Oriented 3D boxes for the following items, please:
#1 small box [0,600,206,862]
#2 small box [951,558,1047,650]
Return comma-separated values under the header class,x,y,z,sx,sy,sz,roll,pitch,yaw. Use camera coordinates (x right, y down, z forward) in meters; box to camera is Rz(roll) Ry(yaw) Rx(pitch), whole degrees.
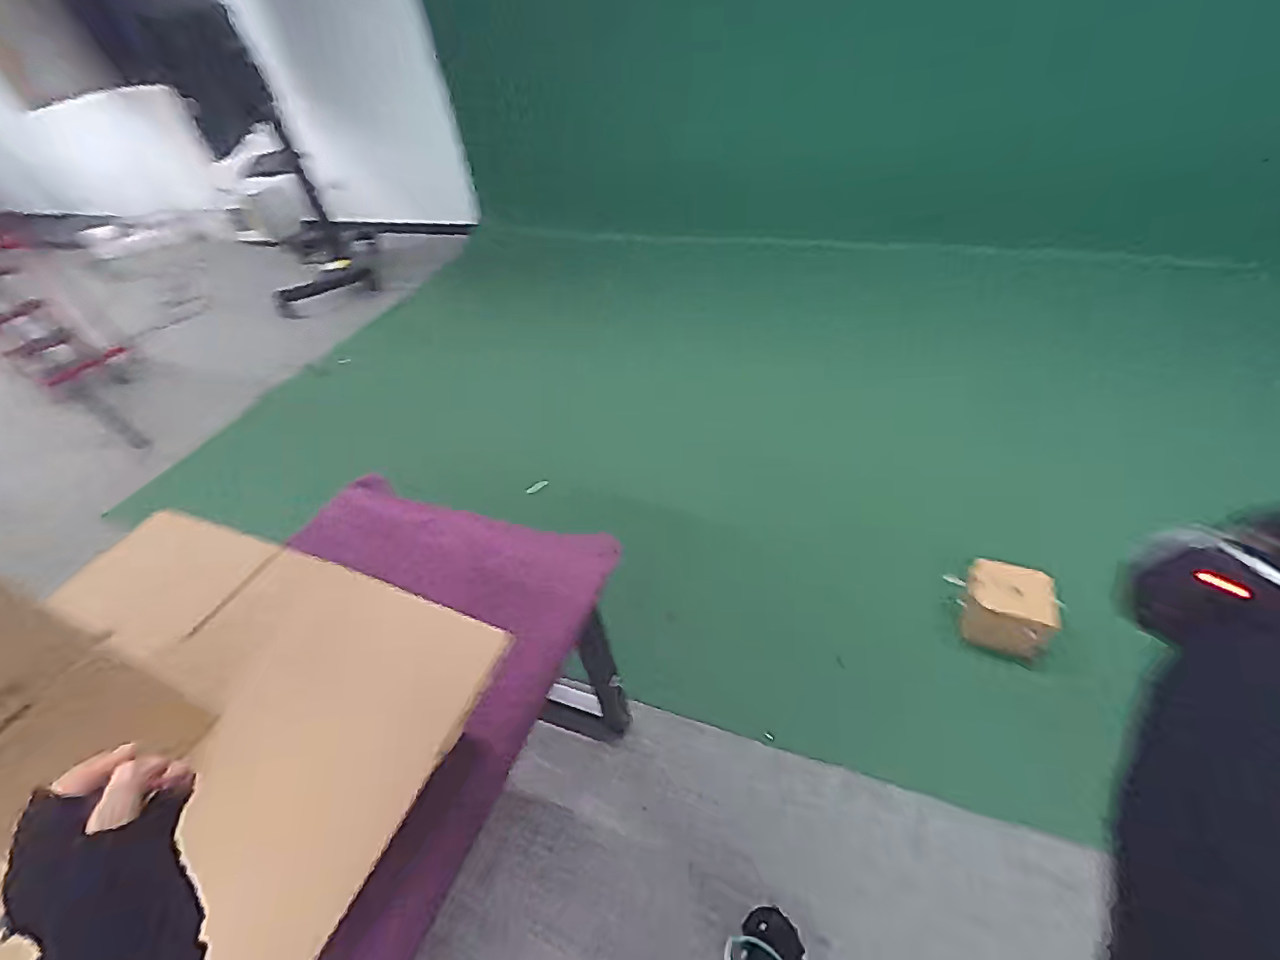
class,x,y,z,sx,sy,sz,roll,pitch,yaw
small box,-0.599,0.250,0.537,0.179,0.176,0.168,10,48,18
small box,0.993,0.350,1.507,0.179,0.176,0.168,12,48,19
